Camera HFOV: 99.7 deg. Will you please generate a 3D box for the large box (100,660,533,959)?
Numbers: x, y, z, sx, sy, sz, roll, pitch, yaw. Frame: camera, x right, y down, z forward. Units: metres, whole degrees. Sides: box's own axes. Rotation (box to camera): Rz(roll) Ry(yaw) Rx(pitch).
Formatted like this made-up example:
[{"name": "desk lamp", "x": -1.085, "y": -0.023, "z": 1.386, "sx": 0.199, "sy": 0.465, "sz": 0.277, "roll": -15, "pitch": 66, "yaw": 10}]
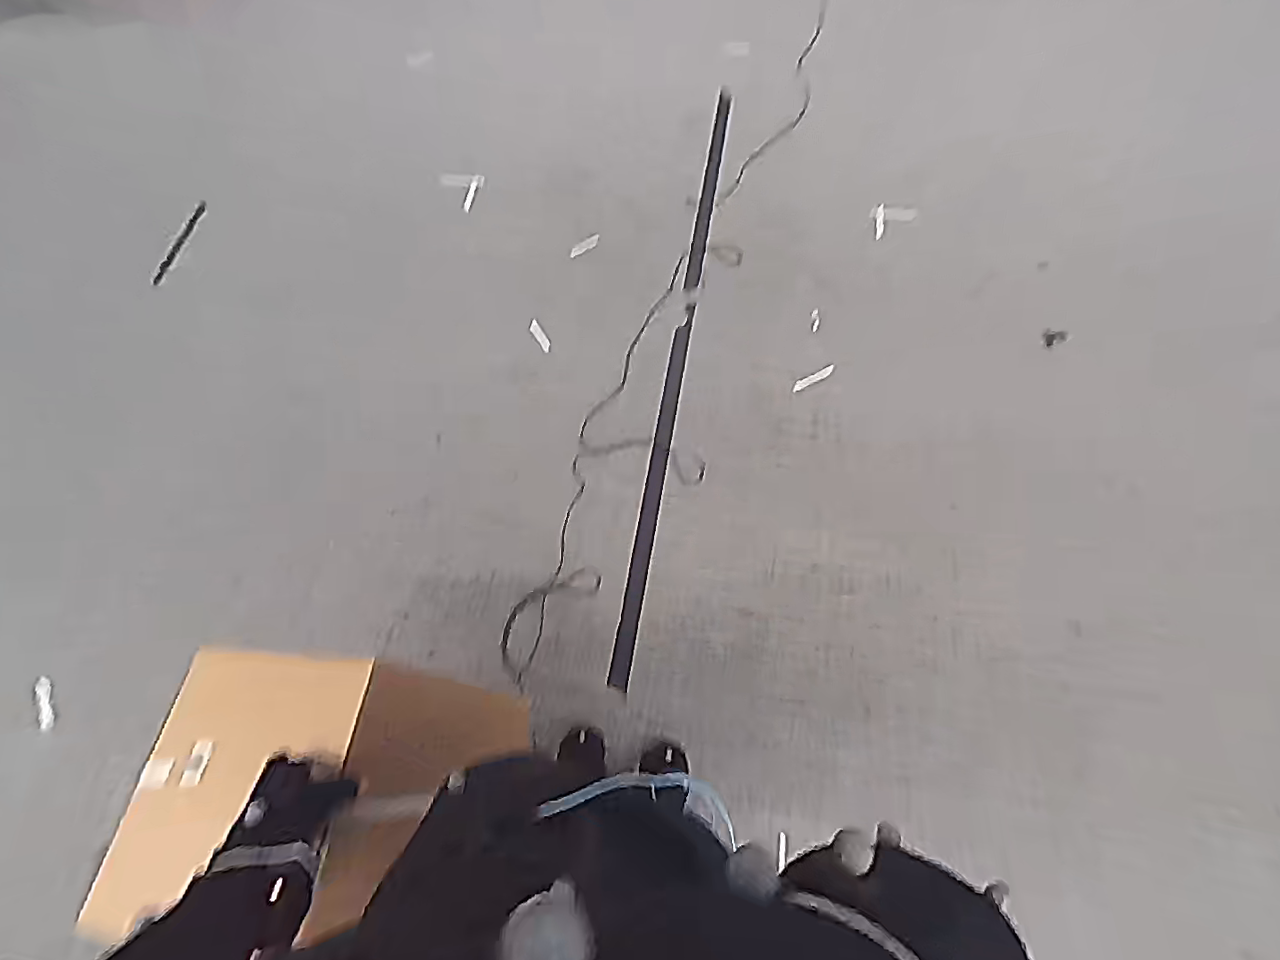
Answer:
[{"name": "large box", "x": -0.412, "y": 0.460, "z": 0.800, "sx": 0.320, "sy": 0.408, "sz": 0.320, "roll": -1, "pitch": 63, "yaw": 19}]
